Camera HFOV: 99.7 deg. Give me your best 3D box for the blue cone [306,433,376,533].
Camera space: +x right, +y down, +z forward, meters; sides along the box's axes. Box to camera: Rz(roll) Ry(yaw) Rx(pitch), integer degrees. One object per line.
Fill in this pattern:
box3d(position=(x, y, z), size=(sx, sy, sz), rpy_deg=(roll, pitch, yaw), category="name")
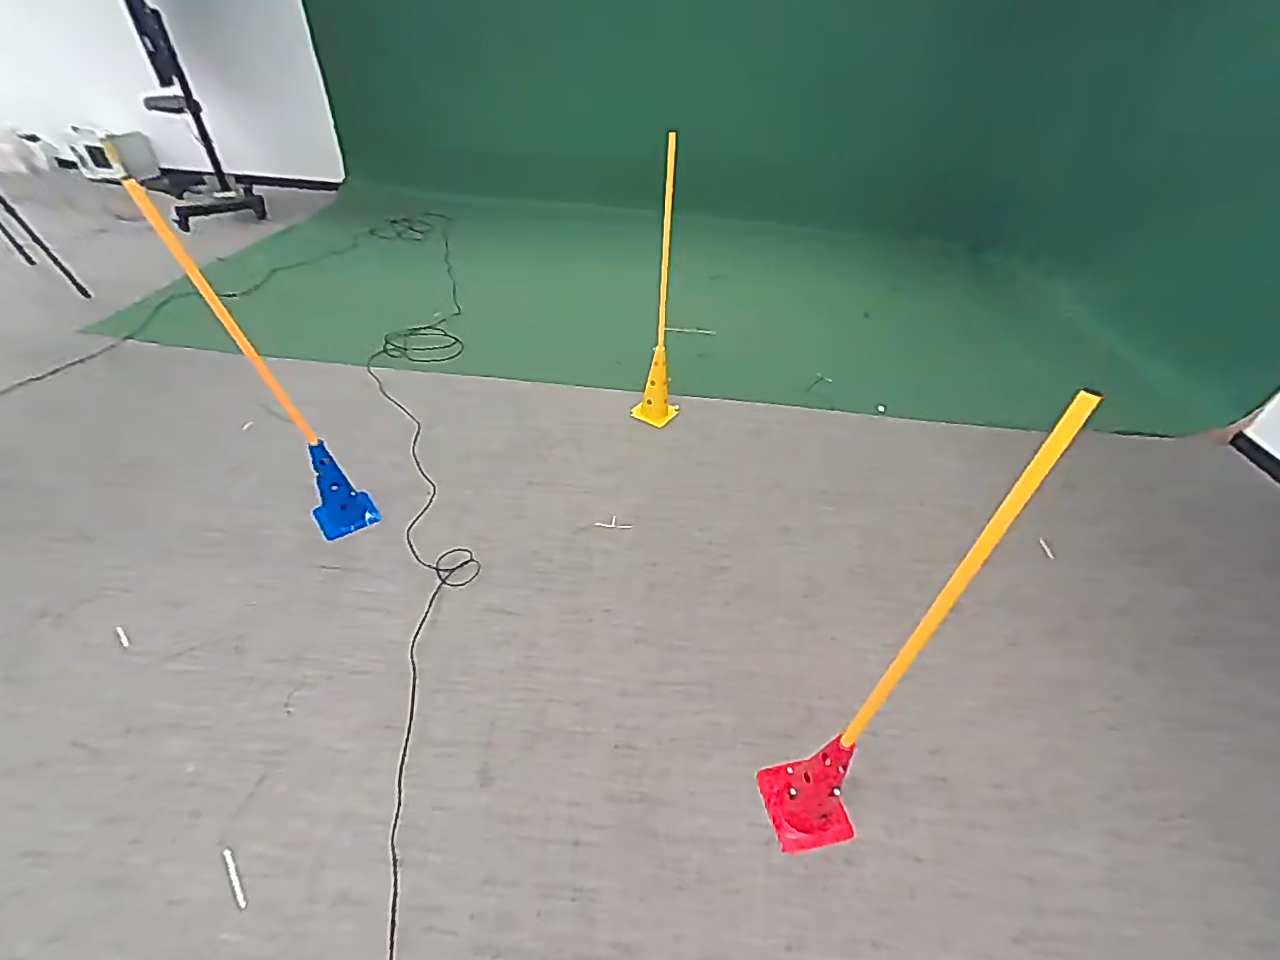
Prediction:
box3d(position=(-1.106, -0.006, 1.931), size=(0.193, 0.380, 0.192), rpy_deg=(-29, 52, -30), category="blue cone")
